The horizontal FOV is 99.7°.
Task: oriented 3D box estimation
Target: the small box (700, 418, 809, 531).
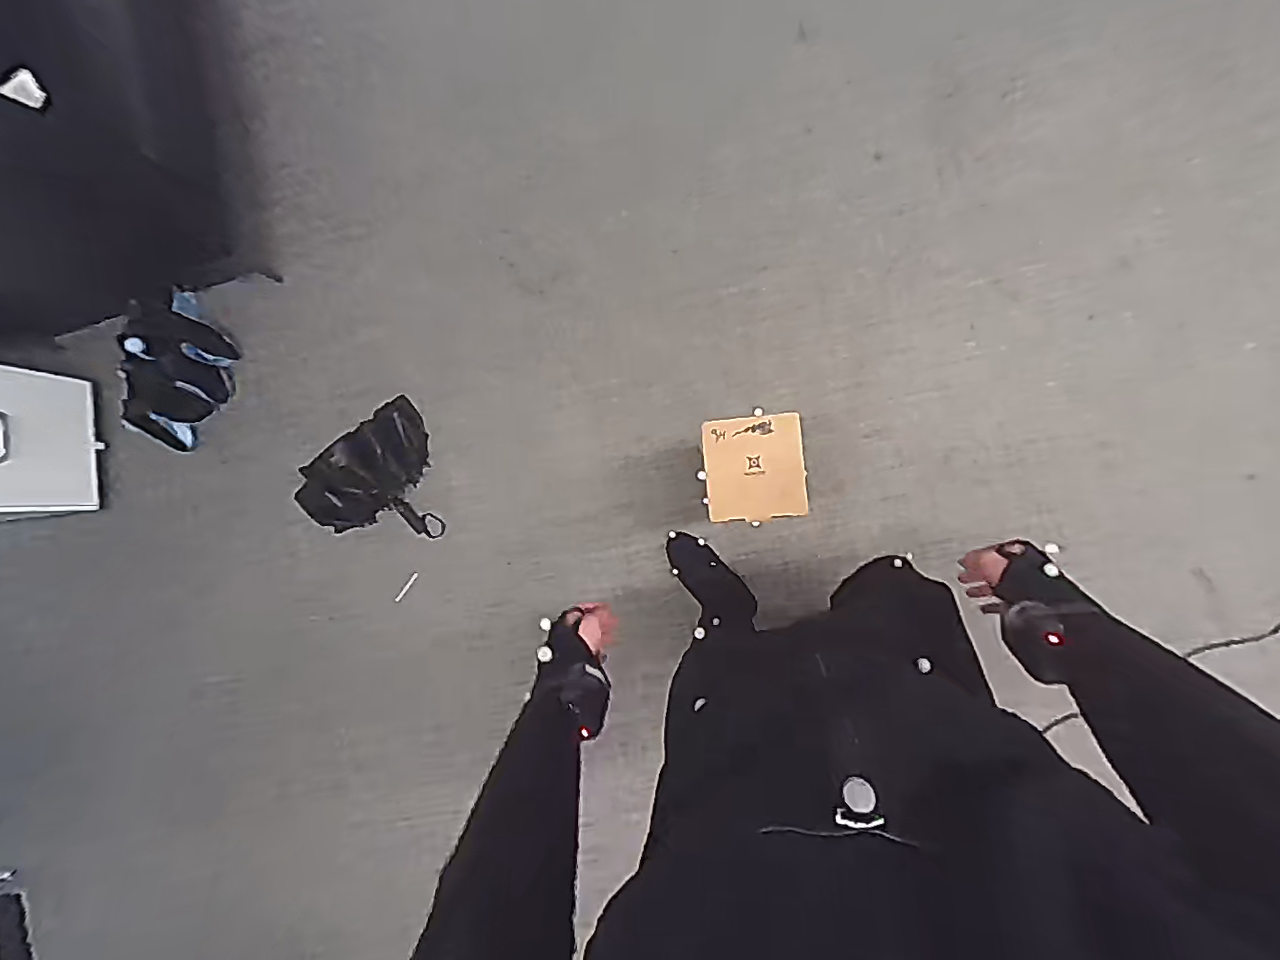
[{"bbox_3d":[0.199,-0.011,0.961,0.168,0.176,0.179,-5,90,8],"label":"small box"}]
